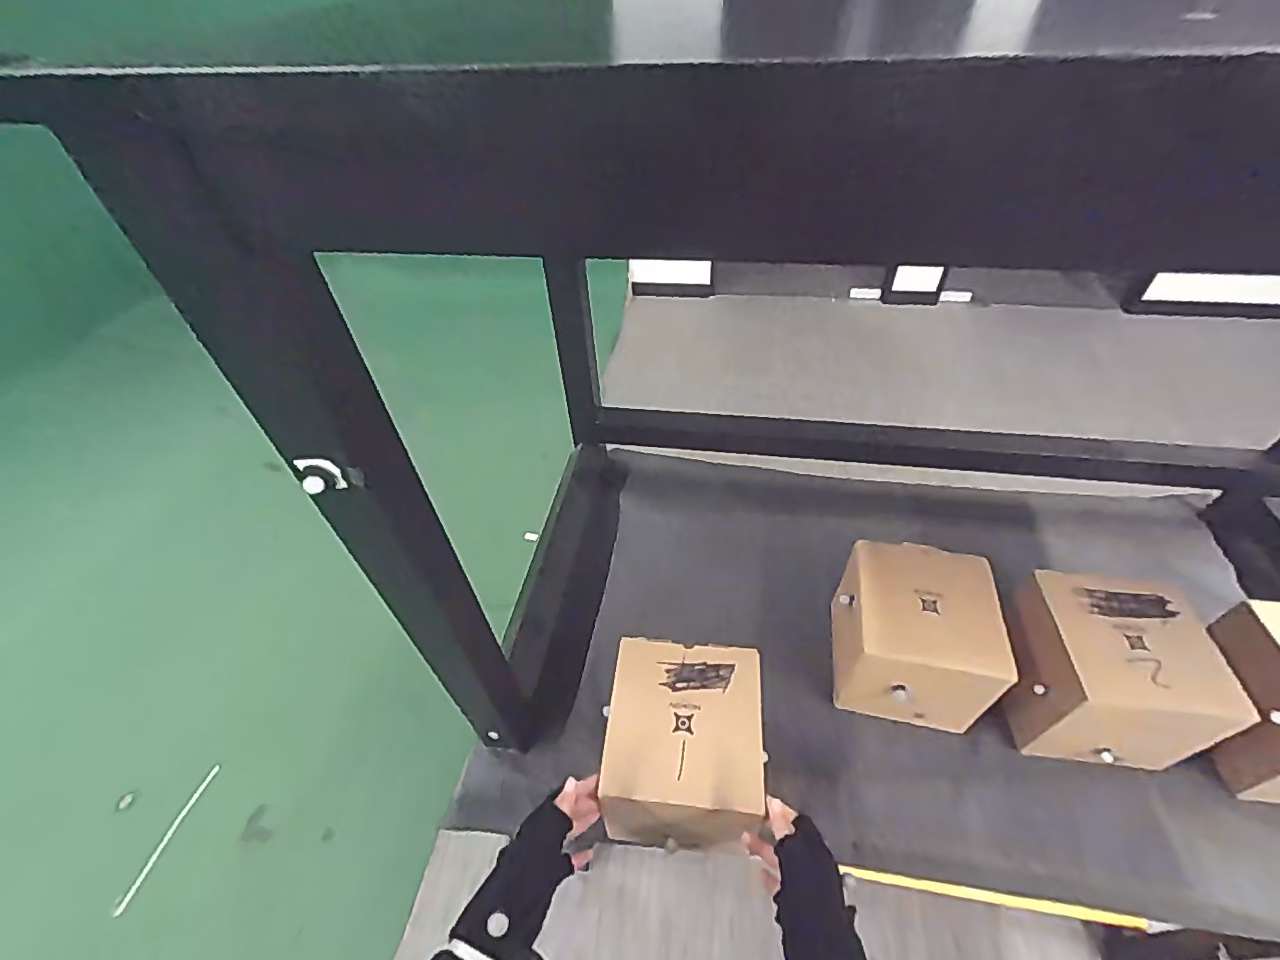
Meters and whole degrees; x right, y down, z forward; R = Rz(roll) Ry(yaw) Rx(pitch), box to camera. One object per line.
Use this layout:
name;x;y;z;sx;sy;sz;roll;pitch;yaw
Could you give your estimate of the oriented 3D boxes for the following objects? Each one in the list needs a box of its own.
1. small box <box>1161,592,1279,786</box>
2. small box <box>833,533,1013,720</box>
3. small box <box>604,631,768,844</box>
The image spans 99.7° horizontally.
small box;0.801;0.258;0.645;0.168;0.176;0.179;4;46;7
small box;0.365;0.201;0.735;0.168;0.176;0.179;8;47;11
small box;0.056;0.306;0.646;0.168;0.176;0.179;3;46;6
